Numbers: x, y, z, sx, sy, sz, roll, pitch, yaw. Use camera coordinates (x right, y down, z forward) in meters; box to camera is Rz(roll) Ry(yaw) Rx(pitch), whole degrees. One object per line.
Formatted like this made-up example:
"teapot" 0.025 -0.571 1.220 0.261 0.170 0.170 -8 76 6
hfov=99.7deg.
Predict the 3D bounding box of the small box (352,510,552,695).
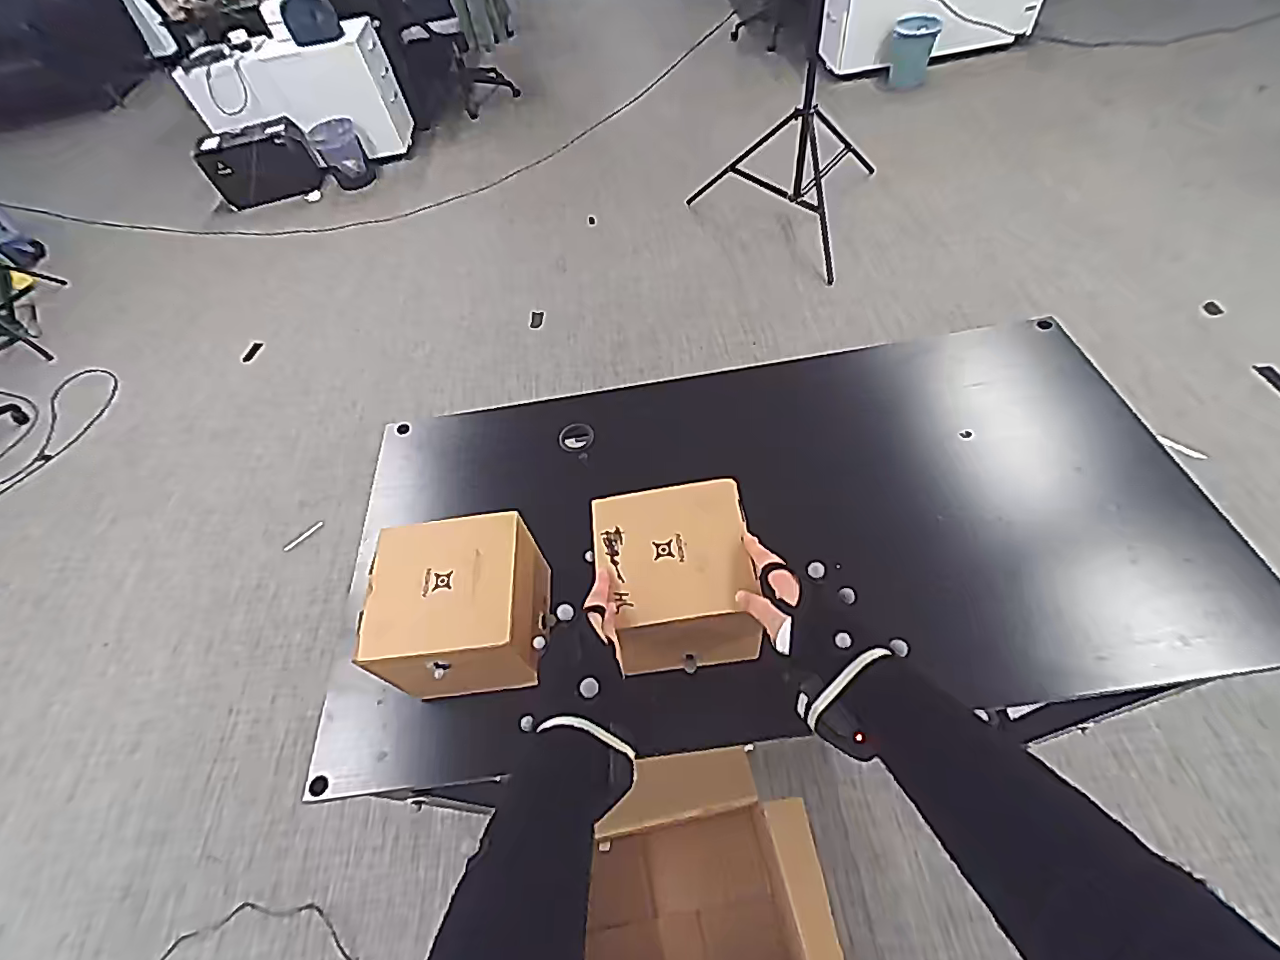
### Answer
"small box" -0.216 0.158 0.673 0.179 0.176 0.168 -8 56 2

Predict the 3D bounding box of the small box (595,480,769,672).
"small box" 0.047 0.122 0.660 0.179 0.176 0.168 -8 54 2
